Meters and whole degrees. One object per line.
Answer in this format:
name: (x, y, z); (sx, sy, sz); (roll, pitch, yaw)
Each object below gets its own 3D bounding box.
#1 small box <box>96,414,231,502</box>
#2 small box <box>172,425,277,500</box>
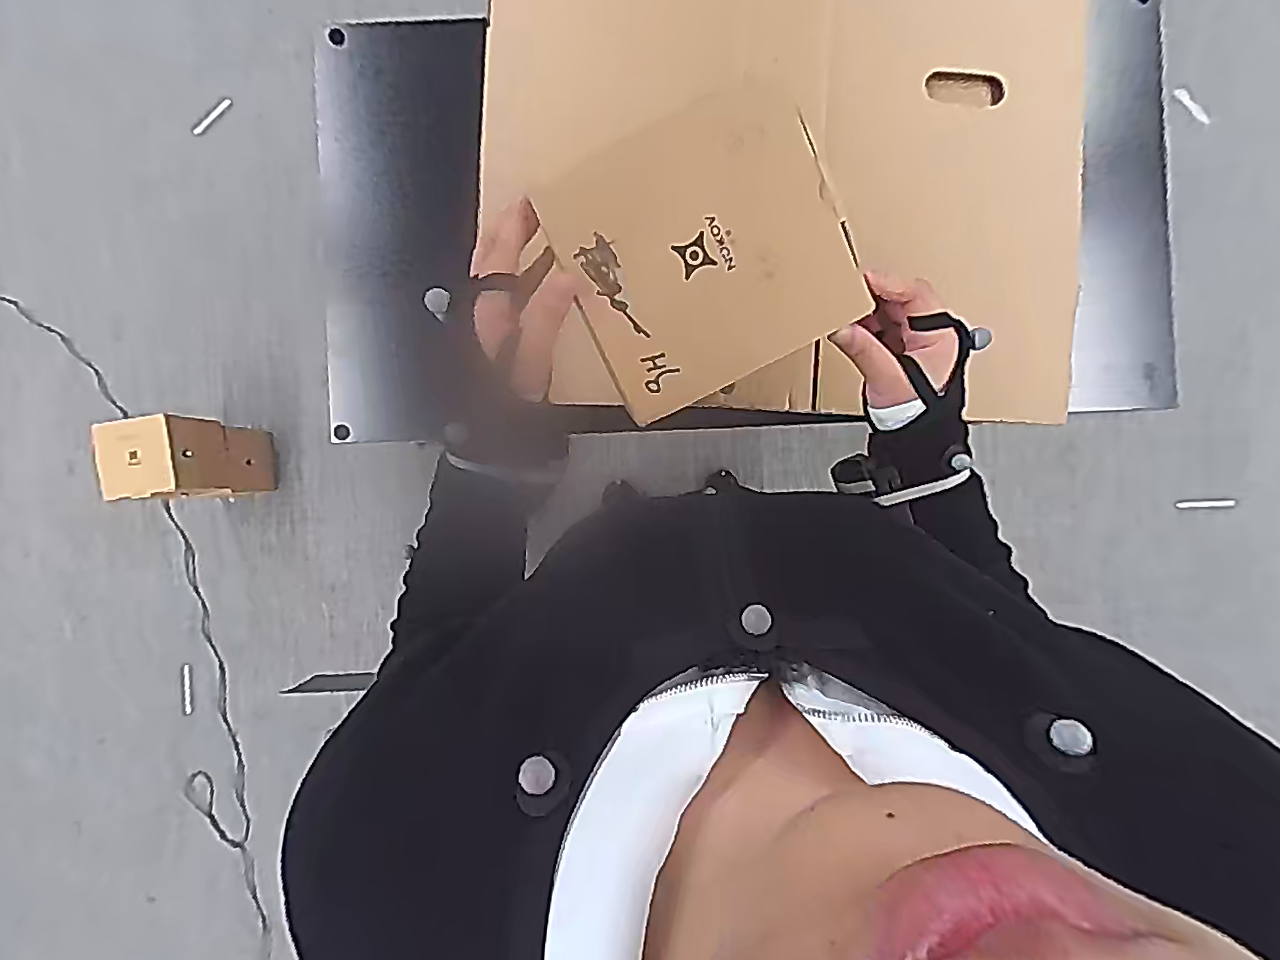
small box: (-1.110, -0.050, 1.276); (0.168, 0.176, 0.179); (-9, 89, 0)
small box: (-1.107, -0.044, 1.439); (0.168, 0.176, 0.179); (-7, 91, 1)
